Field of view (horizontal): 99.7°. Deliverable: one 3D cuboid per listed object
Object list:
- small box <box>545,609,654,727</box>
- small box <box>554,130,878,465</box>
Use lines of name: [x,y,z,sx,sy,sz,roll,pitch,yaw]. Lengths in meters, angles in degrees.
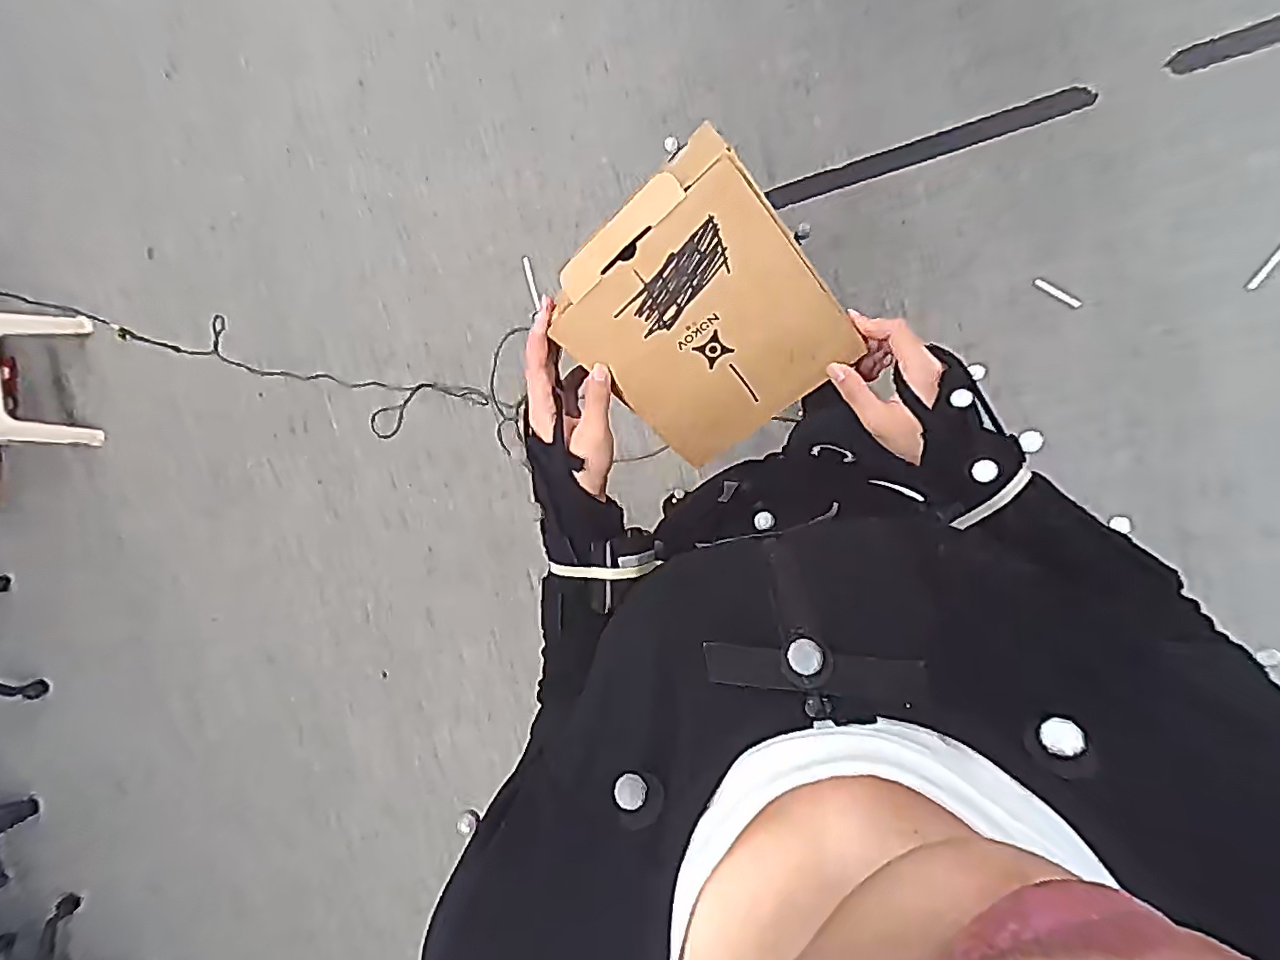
small box: [-0.083,0.403,1.197,0.168,0.176,0.179,-23,92,12]
small box: [0.056,-0.152,0.443,0.168,0.176,0.179,-34,121,25]
